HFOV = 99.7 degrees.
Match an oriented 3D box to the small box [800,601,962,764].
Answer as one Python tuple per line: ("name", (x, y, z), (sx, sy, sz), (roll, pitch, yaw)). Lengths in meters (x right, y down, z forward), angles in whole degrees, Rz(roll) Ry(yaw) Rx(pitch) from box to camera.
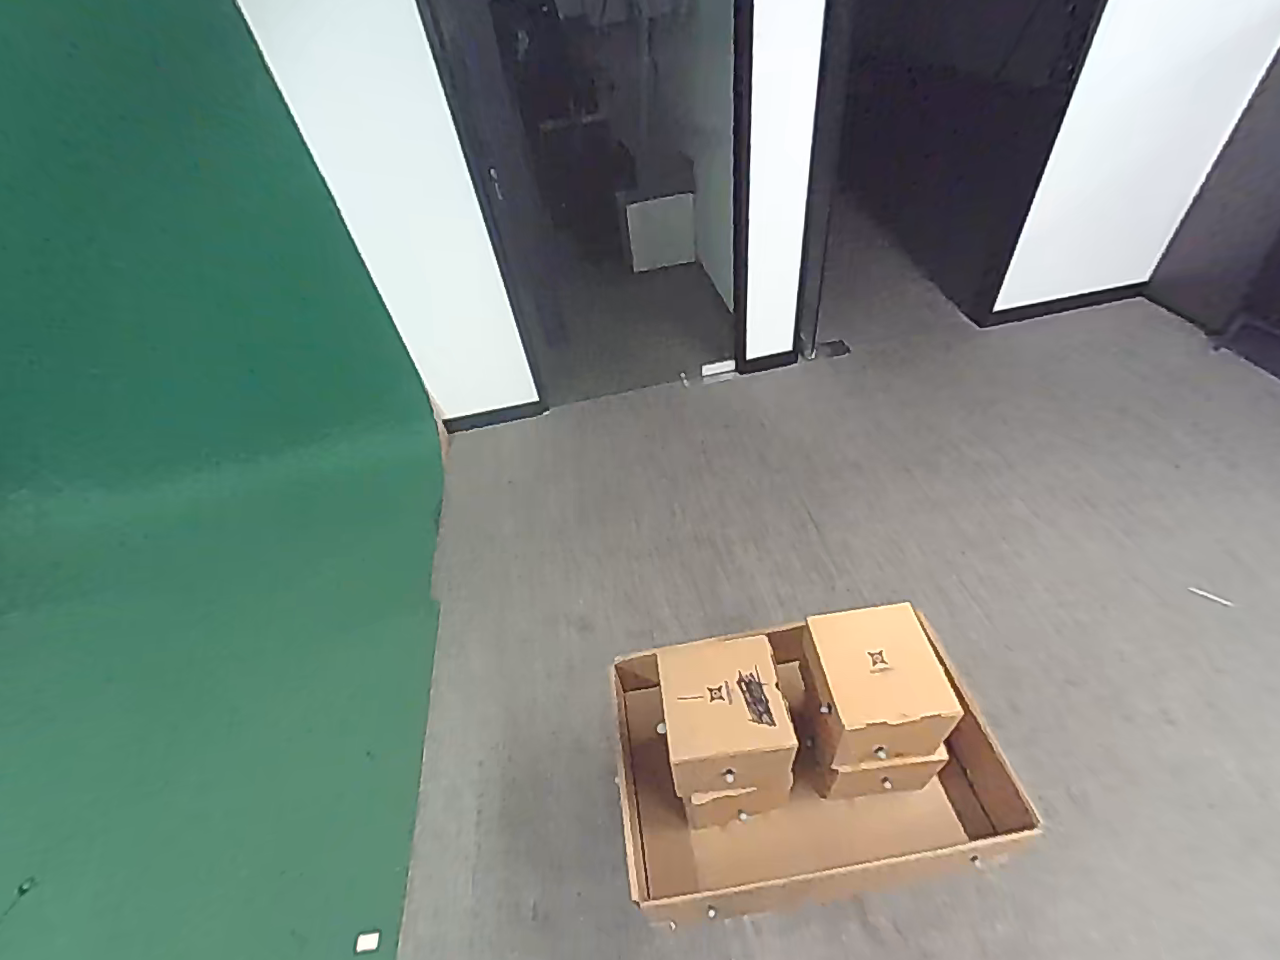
("small box", (0.359, 0.317, 0.847), (0.168, 0.176, 0.179), (-9, 45, 2))

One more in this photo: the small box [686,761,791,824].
("small box", (0.150, 0.474, 0.954), (0.168, 0.176, 0.179), (-12, 45, -3))

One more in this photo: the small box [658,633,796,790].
("small box", (0.127, 0.361, 0.838), (0.179, 0.176, 0.168), (-8, 44, 2))
